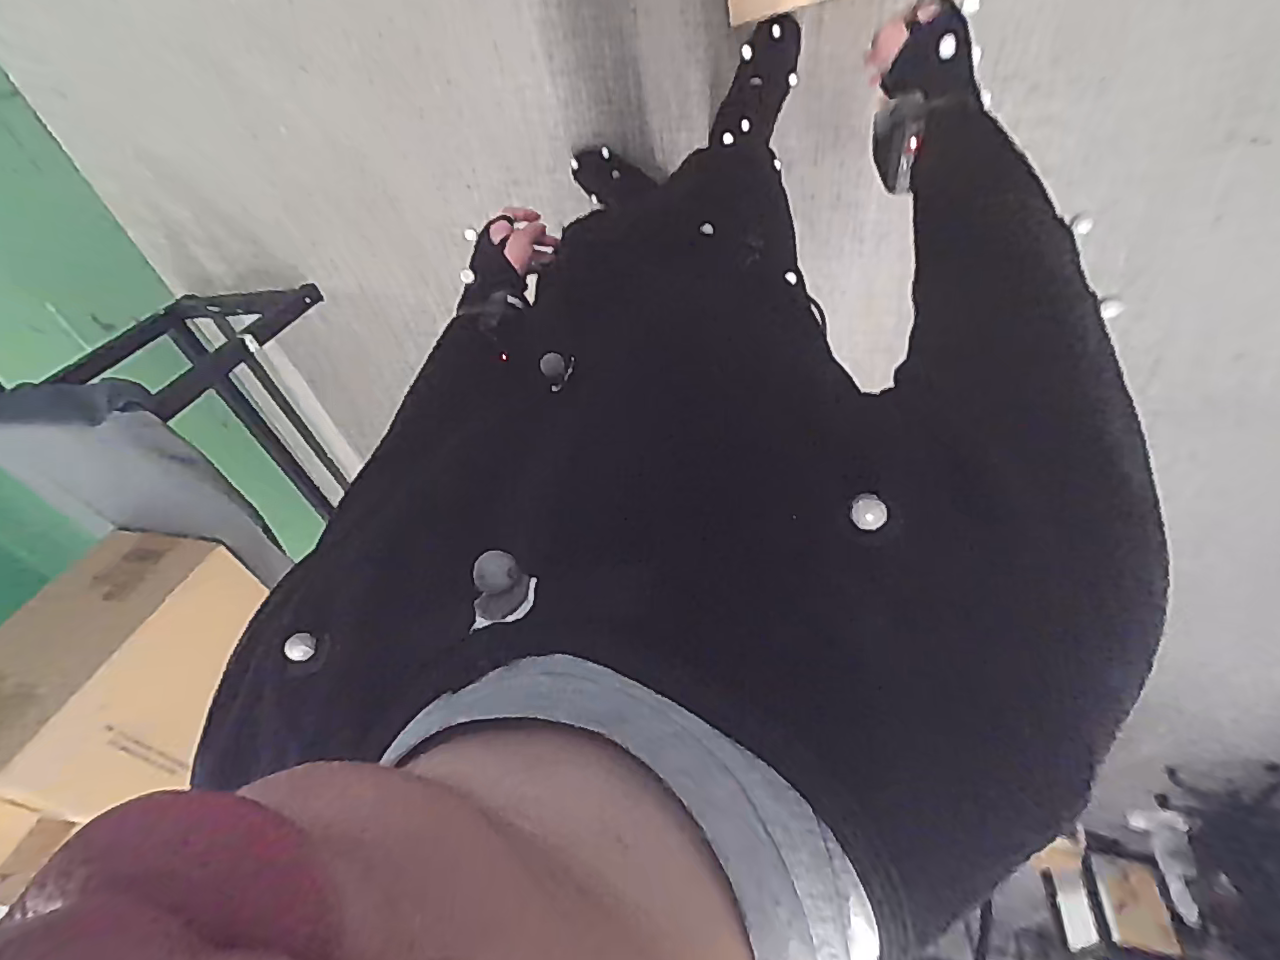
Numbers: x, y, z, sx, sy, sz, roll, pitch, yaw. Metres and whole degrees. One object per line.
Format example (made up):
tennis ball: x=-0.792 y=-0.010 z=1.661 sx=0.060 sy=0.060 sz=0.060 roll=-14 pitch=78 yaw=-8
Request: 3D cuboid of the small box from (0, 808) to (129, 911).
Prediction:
small box: x=-1.431 y=0.931 z=1.333 sx=0.179 sy=0.176 sz=0.168 roll=2 pitch=133 yaw=12

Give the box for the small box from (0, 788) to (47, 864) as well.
small box: x=-1.462 y=0.749 z=1.154 sx=0.168 sy=0.176 sz=0.179 roll=2 pitch=136 yaw=10
